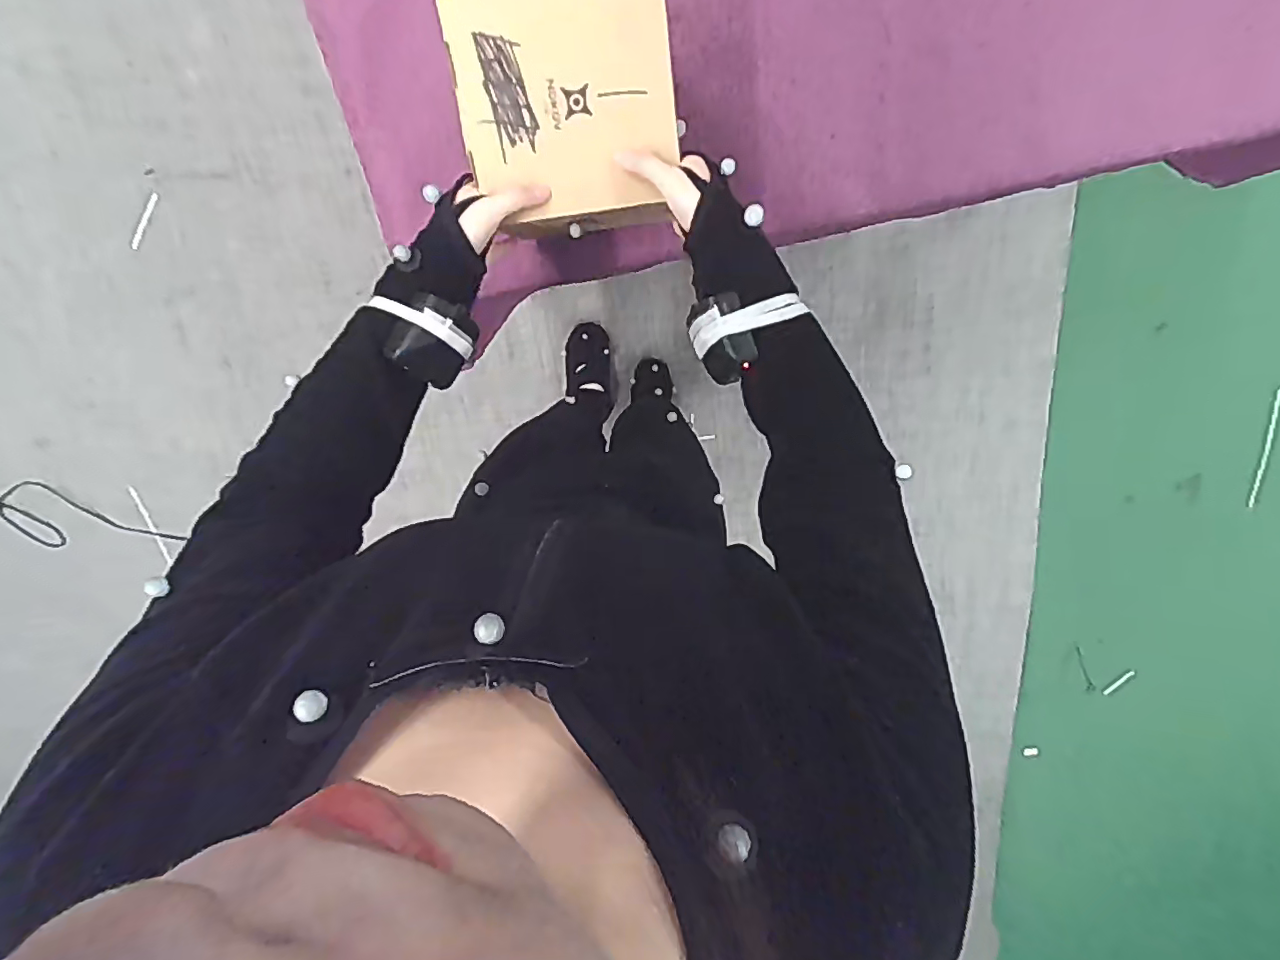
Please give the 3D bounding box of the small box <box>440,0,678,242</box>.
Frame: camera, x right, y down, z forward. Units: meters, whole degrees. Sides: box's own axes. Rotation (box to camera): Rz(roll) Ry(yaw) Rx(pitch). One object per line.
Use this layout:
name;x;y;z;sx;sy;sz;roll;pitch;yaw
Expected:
small box;-0.060;-0.331;0.517;0.179;0.176;0.168;-7;110;3
